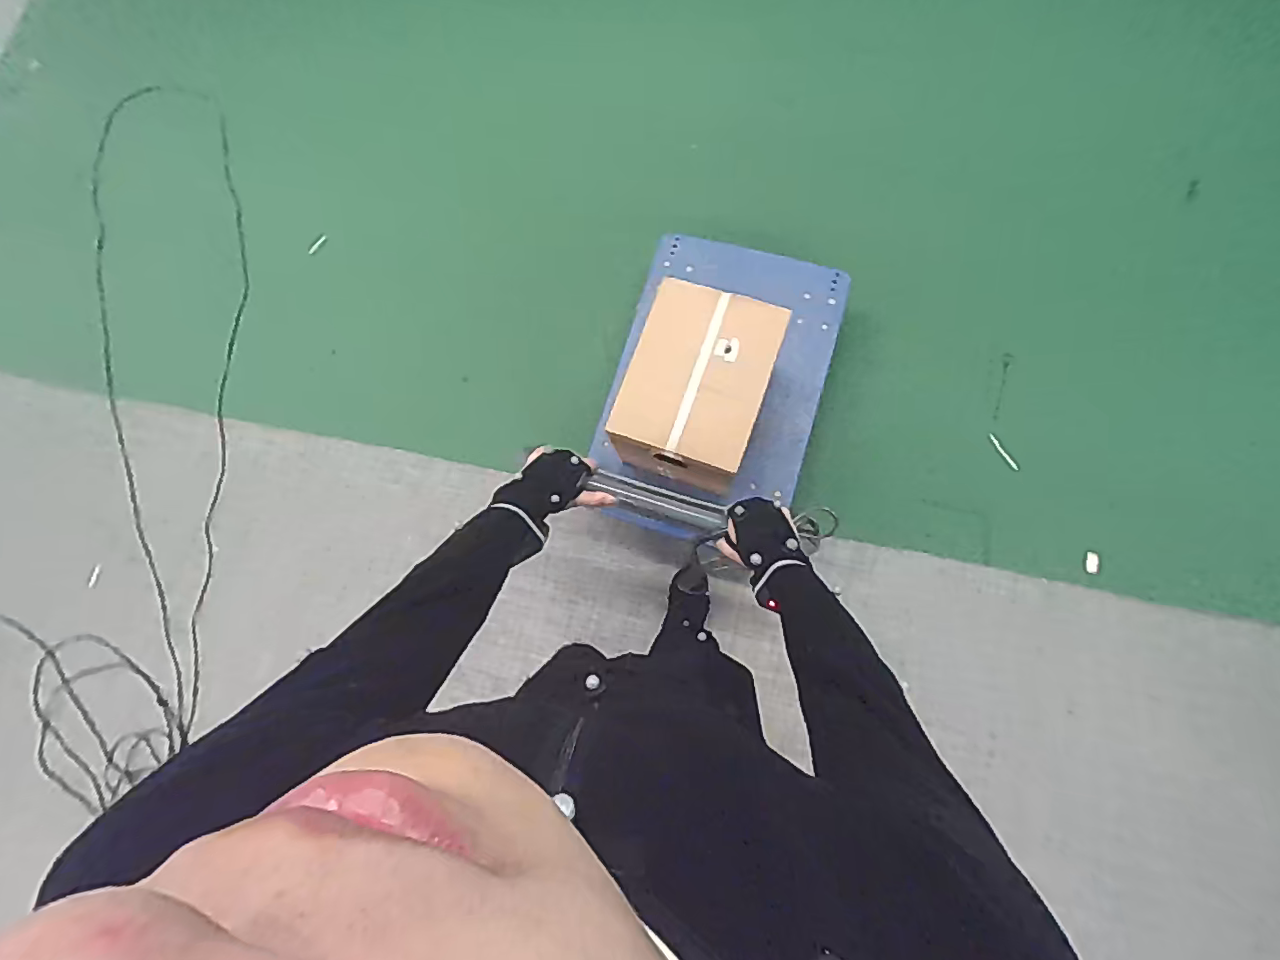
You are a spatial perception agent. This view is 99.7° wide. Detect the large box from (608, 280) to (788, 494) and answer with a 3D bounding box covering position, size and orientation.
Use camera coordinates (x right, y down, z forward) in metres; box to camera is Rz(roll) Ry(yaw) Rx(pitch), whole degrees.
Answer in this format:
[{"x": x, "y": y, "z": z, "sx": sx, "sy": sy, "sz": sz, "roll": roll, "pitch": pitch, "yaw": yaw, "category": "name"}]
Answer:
[{"x": 0.147, "y": -0.216, "z": 1.375, "sx": 0.320, "sy": 0.320, "sz": 0.408, "roll": 20, "pitch": 81, "yaw": 9, "category": "large box"}]
